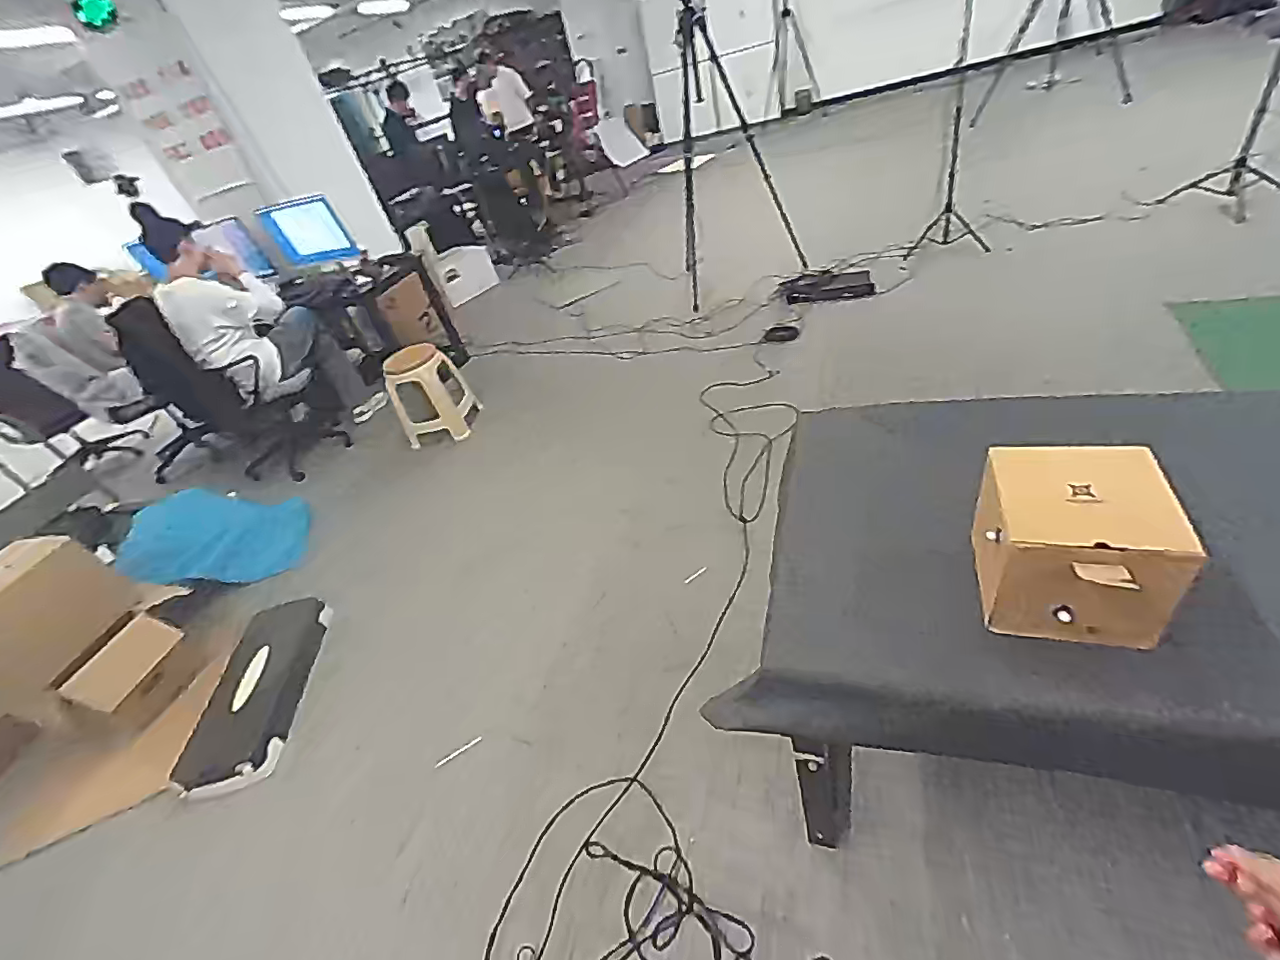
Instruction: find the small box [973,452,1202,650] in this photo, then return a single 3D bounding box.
[{"bbox_3d":[0.532,0.083,0.679,0.168,0.176,0.179,2,41,22],"label":"small box"}]
